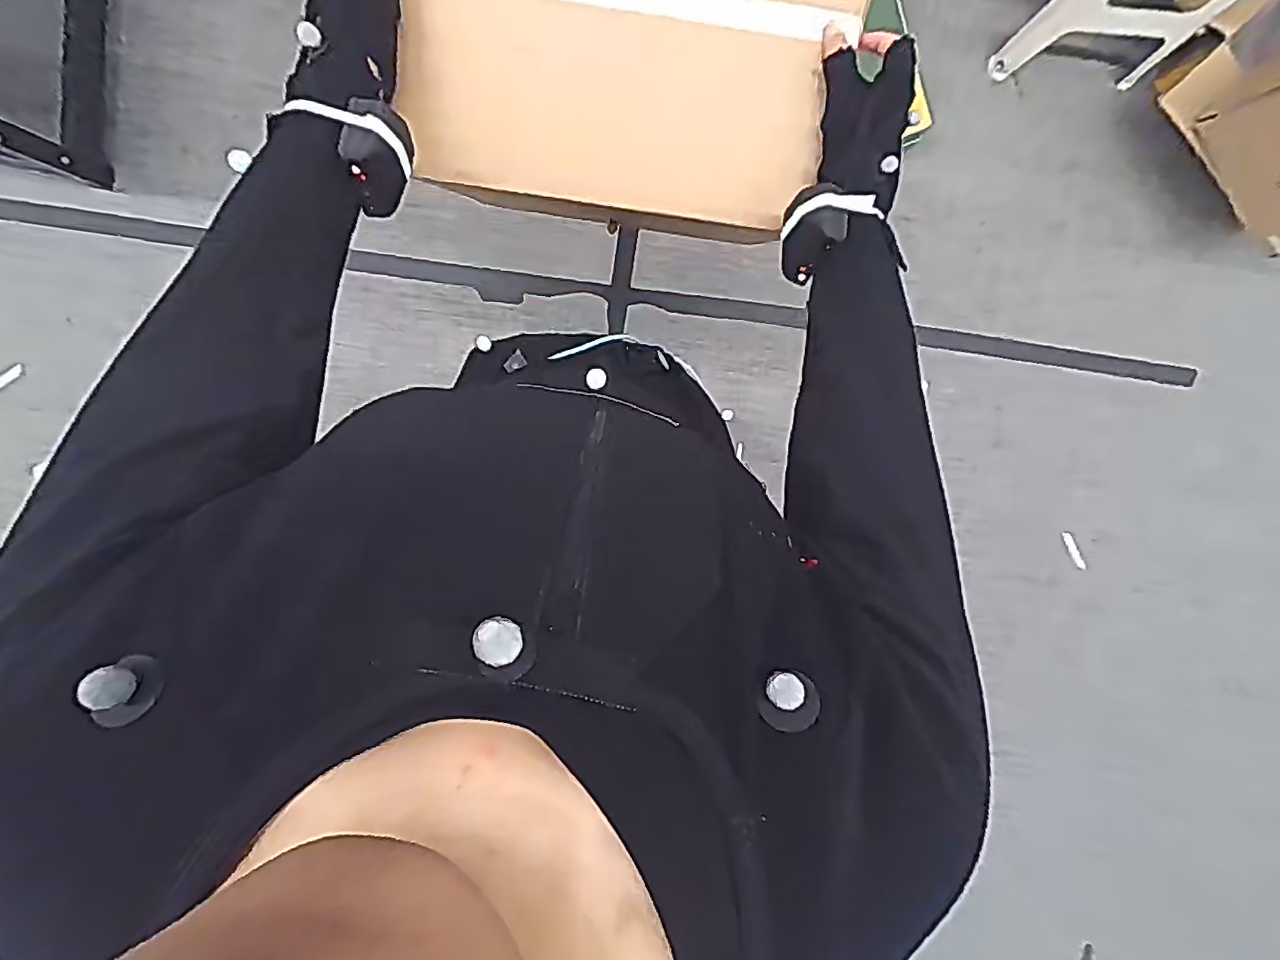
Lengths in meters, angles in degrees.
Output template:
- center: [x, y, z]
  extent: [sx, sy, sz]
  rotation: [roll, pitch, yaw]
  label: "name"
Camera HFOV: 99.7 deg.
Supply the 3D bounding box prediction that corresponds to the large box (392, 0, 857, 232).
- center: [-0.010, -0.468, 0.599]
  extent: [0.408, 0.320, 0.320]
  rotation: [7, 111, -2]
  label: "large box"
